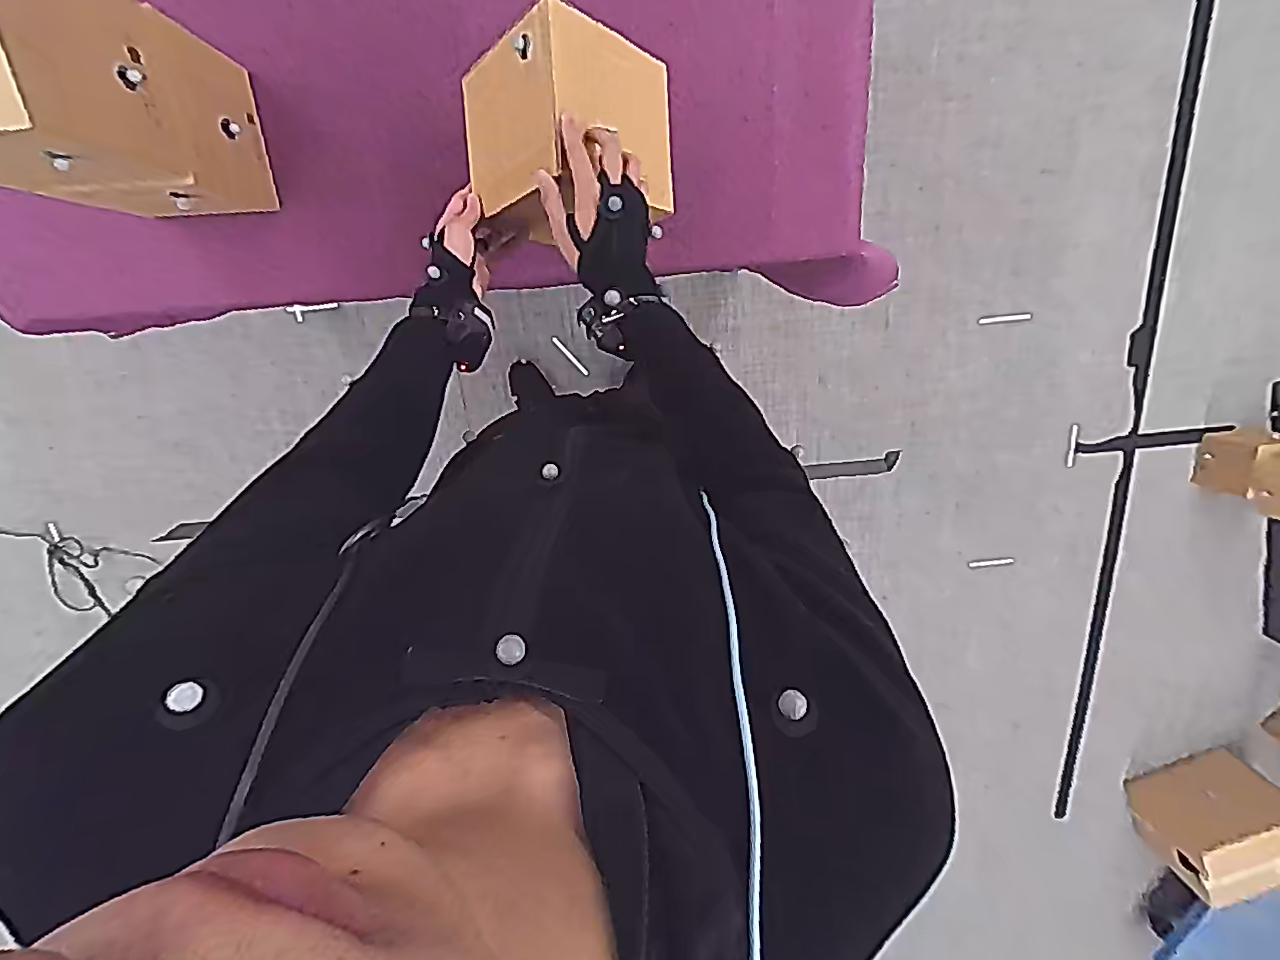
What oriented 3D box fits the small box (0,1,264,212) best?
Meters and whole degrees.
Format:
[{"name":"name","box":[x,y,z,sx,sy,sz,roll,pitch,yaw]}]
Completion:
[{"name":"small box","box":[-0.580,-0.418,0.632,0.179,0.176,0.168,-4,108,-3]}]

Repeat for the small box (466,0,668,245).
[{"name":"small box","box":[-0.085,-0.384,0.623,0.168,0.179,0.176,-8,99,-42]}]
